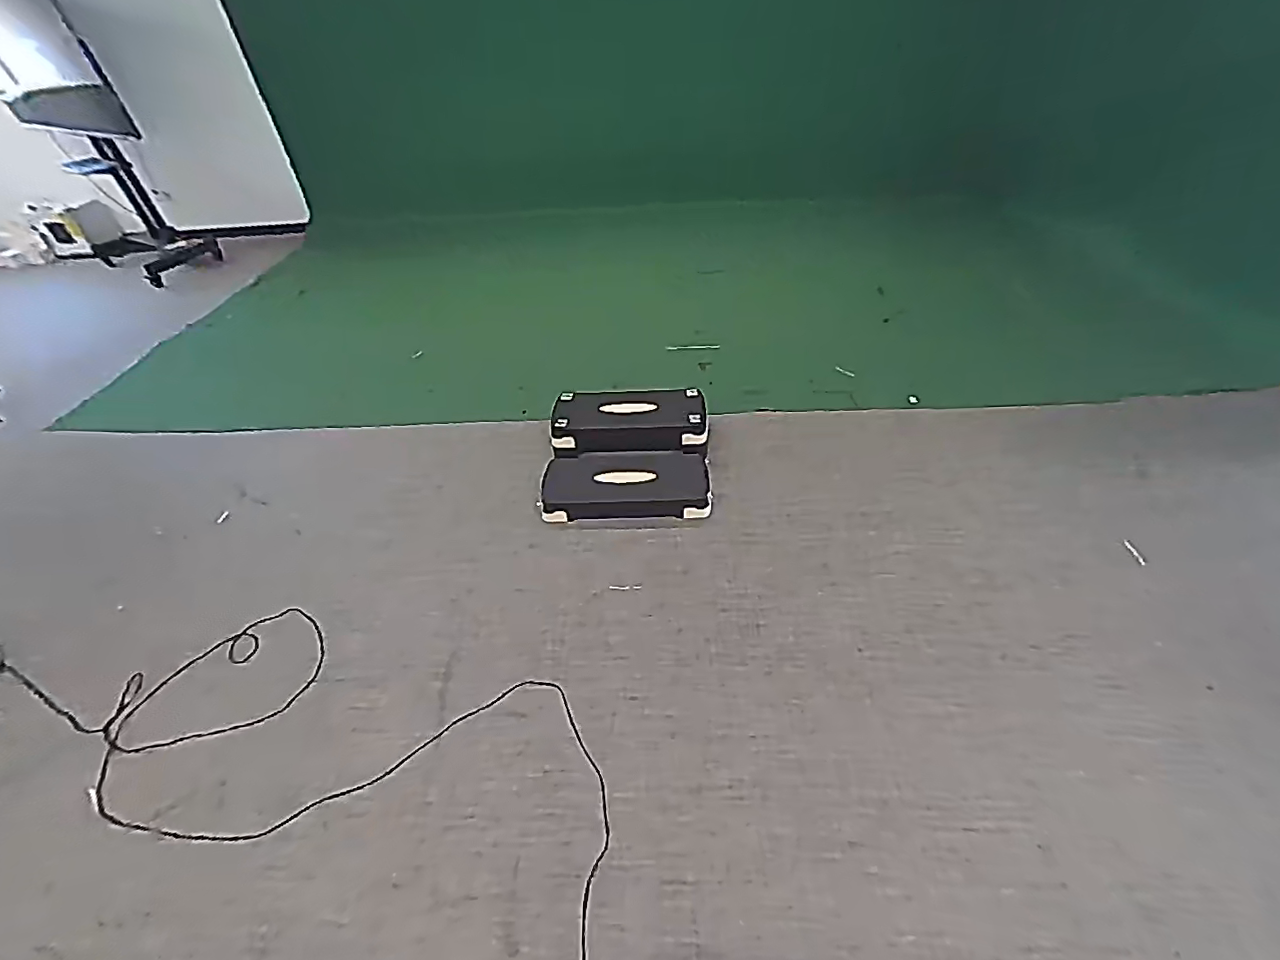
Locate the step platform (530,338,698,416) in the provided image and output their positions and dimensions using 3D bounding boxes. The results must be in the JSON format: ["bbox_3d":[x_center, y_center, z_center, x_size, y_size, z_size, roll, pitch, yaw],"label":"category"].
[{"bbox_3d":[-0.101,-0.430,2.265,0.684,0.204,0.286,-2,43,3],"label":"step platform"}]
